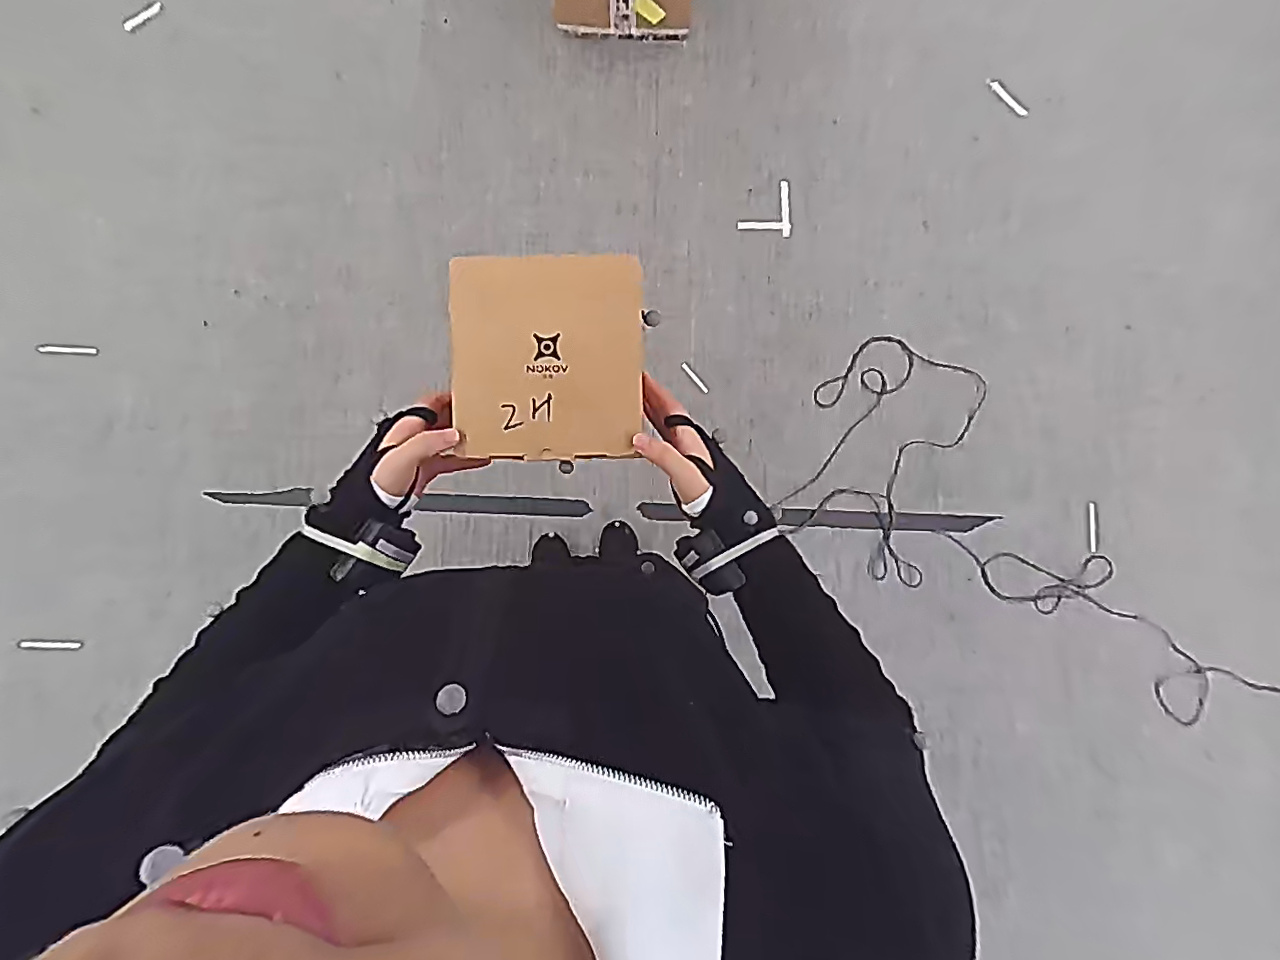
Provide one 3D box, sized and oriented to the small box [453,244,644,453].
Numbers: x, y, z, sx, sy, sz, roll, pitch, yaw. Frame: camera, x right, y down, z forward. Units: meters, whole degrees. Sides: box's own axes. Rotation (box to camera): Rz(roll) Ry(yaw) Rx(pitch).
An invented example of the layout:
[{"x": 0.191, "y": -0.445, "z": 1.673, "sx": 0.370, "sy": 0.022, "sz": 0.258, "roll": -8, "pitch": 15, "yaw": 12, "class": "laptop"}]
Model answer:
[{"x": -0.080, "y": -0.118, "z": 0.547, "sx": 0.168, "sy": 0.176, "sz": 0.179, "roll": 0, "pitch": 92, "yaw": 0, "class": "small box"}]
